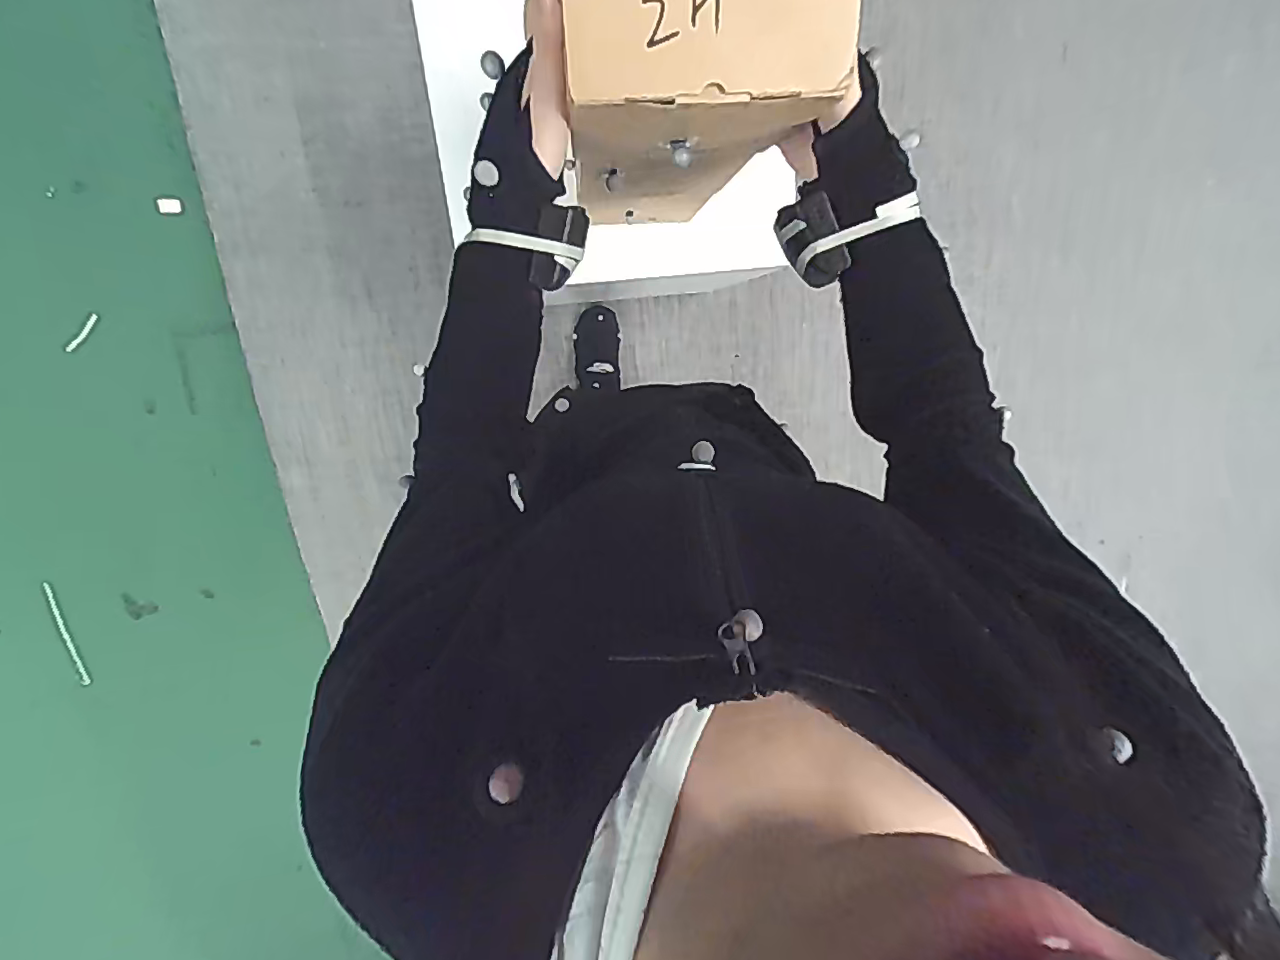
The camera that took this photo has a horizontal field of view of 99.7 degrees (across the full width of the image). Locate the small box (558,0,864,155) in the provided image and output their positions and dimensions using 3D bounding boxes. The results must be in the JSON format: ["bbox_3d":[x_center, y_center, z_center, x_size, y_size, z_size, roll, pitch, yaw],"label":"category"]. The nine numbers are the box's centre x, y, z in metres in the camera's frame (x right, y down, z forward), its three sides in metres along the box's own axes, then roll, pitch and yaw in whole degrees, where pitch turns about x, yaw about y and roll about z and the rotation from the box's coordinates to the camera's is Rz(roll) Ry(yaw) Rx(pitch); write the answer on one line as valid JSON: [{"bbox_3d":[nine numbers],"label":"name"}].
[{"bbox_3d":[0.029,-0.329,0.344,0.168,0.176,0.179,-4,109,-4],"label":"small box"}]

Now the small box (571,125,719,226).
[{"bbox_3d":[-0.001,-0.434,0.680,0.168,0.176,0.179,-5,104,-5],"label":"small box"}]
